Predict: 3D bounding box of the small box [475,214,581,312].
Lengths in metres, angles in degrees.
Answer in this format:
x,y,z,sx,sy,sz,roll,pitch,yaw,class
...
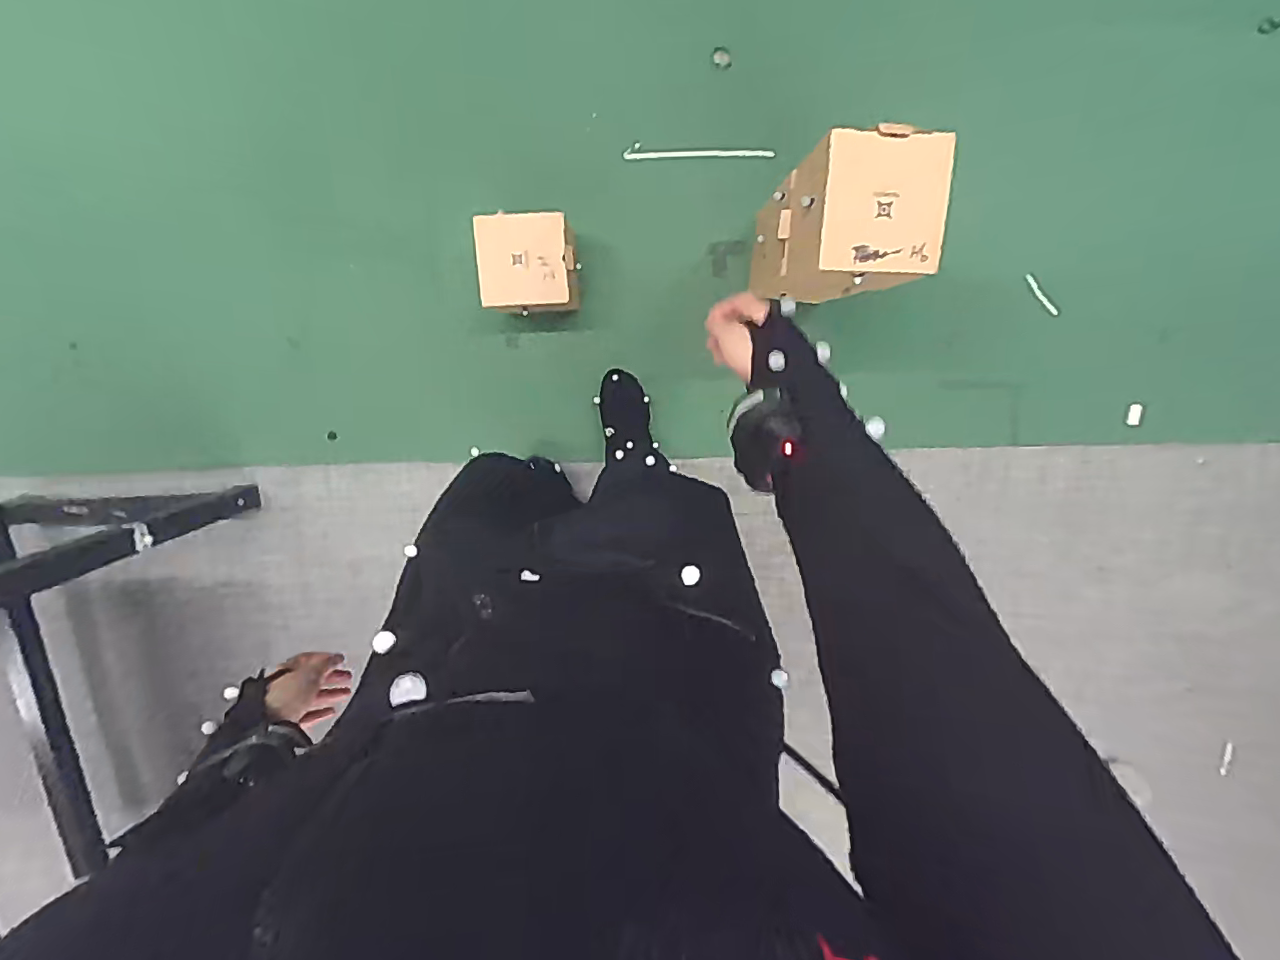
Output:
x,y,z,sx,sy,sz,roll,pitch,yaw,class
-0.222,-0.437,1.111,0.179,0.176,0.168,-2,104,0,small box

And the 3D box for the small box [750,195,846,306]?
x,y,z,sx,sy,sz,roll,pitch,yaw,class
0.331,-0.462,1.114,0.168,0.176,0.179,6,103,-2,small box

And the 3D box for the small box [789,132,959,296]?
x,y,z,sx,sy,sz,roll,pitch,yaw,class
0.329,-0.377,0.796,0.168,0.176,0.179,2,102,-2,small box
